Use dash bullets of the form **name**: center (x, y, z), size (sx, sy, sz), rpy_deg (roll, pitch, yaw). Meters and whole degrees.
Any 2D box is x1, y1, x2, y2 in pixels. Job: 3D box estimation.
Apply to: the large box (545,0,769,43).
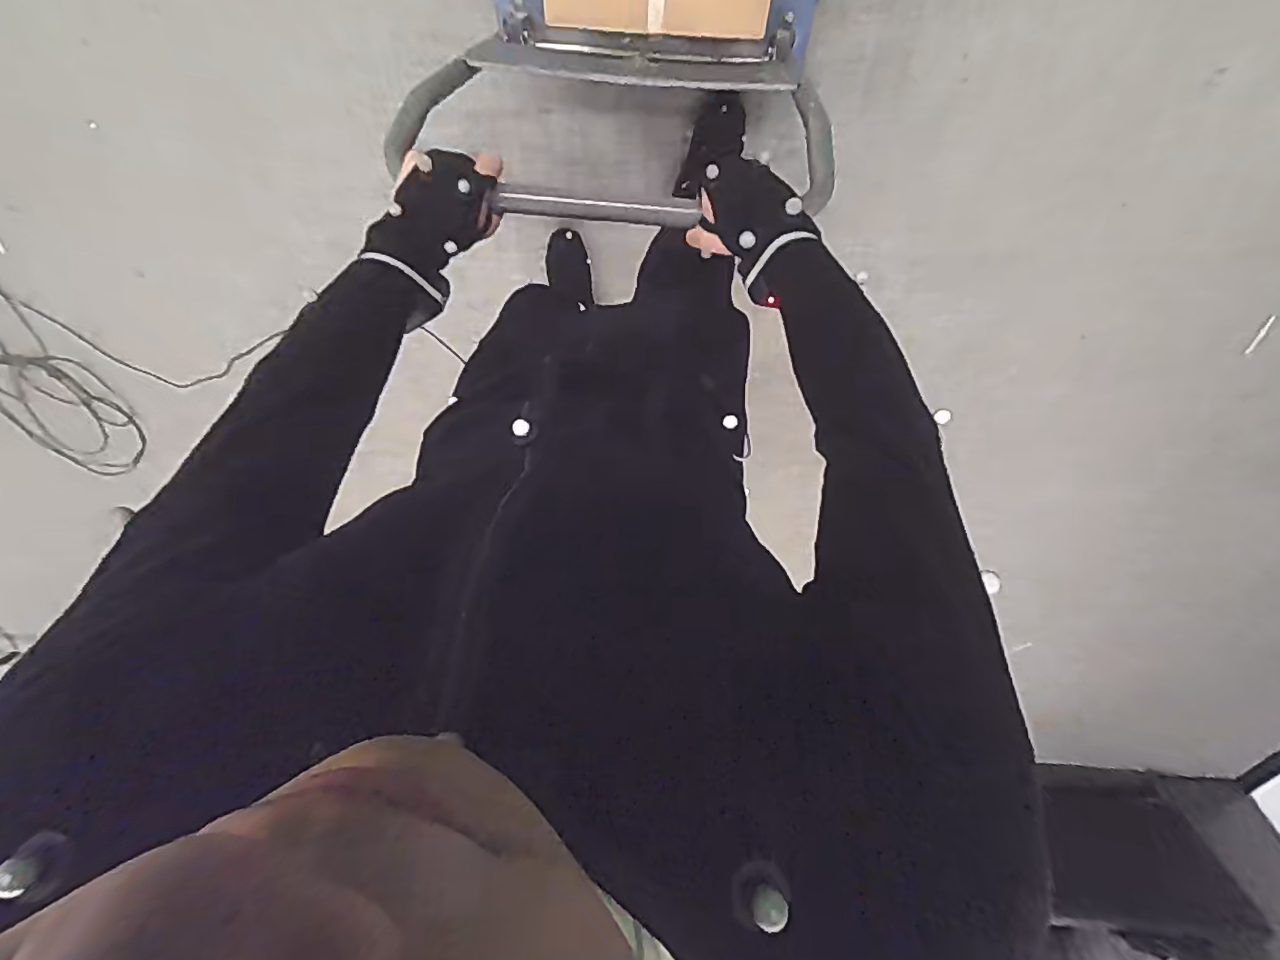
- **large box**: center (0.040, -0.877, 0.748), size (0.320, 0.320, 0.408), rpy_deg (5, 133, 1)
